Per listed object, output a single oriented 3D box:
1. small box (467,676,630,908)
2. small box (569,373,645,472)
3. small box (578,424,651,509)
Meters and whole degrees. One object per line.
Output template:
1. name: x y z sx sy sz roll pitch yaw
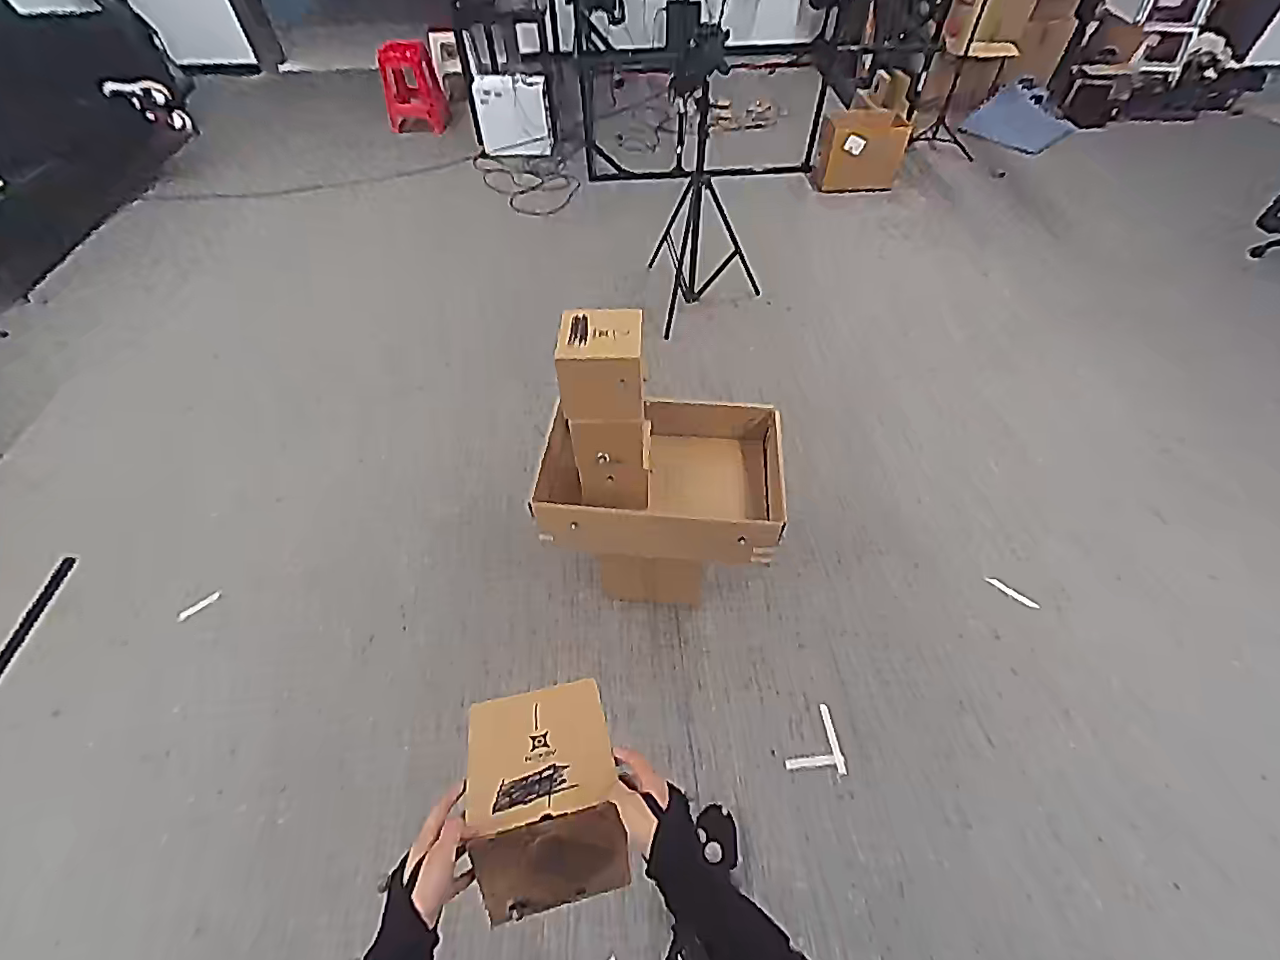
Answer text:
1. small box: -0.112 0.382 0.667 0.168 0.176 0.179 -9 27 -12
2. small box: -0.073 -0.138 1.301 0.168 0.176 0.179 -1 51 1
3. small box: -0.061 -0.036 1.429 0.179 0.176 0.168 2 52 2
